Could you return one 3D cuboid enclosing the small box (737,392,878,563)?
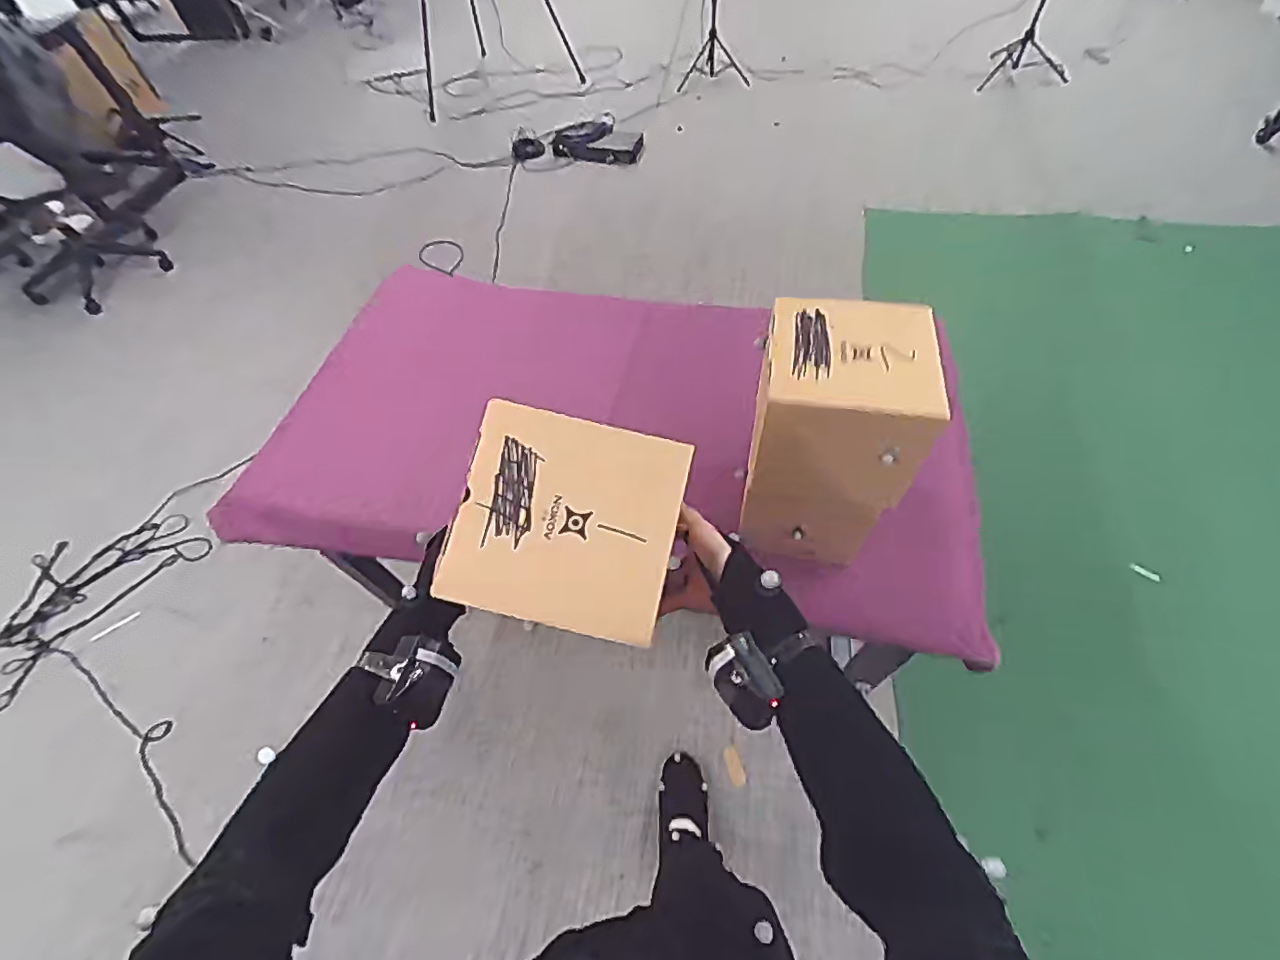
[{"bbox_3d":[0.236,0.000,0.781,0.168,0.176,0.179,9,56,10],"label":"small box"}]
